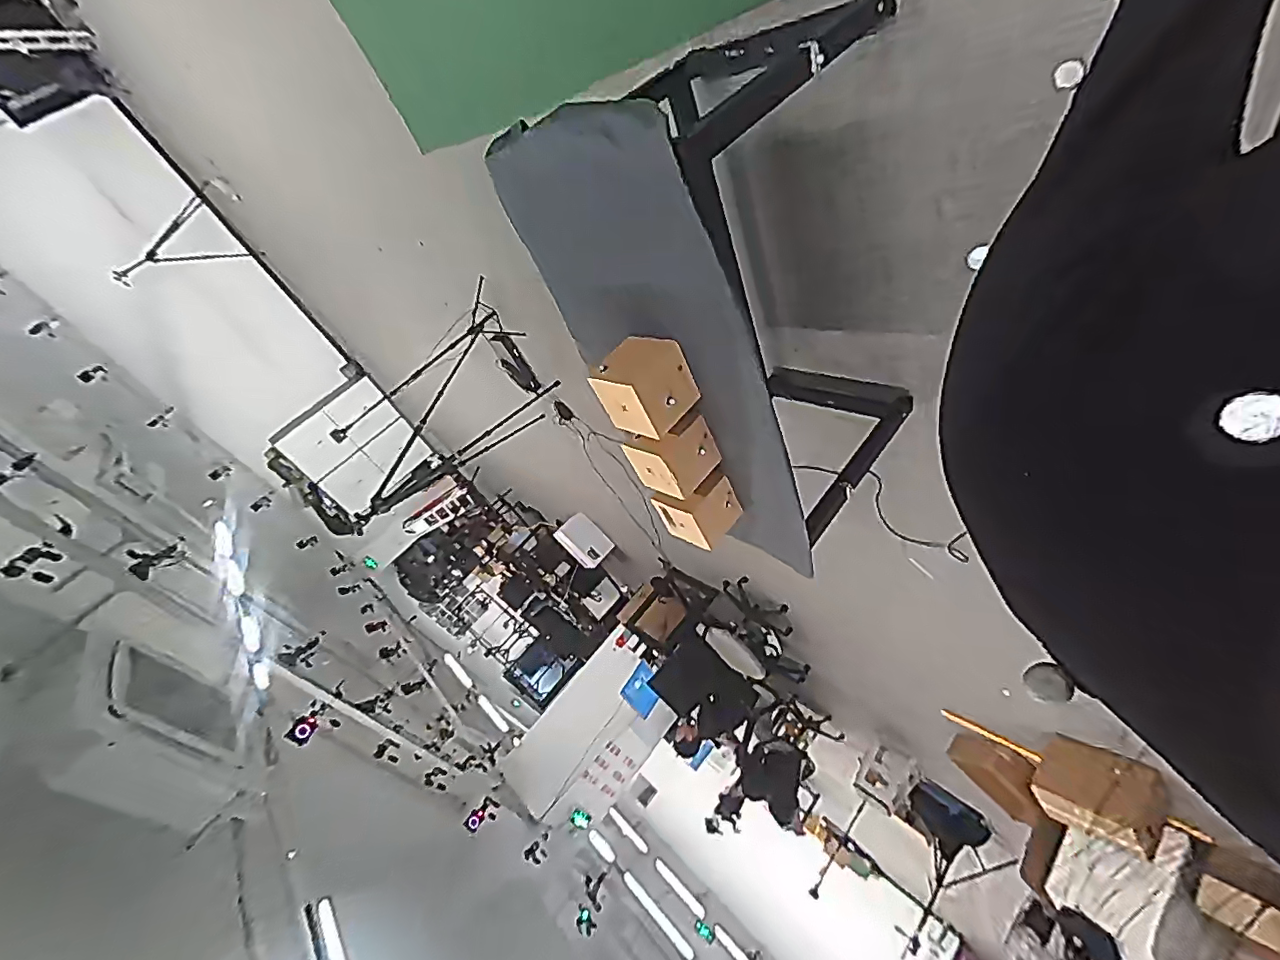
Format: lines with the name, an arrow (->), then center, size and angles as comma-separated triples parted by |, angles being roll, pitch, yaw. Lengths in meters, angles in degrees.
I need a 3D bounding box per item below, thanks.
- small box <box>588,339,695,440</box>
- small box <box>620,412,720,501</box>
small box -> 0.013, -0.224, 1.308 | 0.179, 0.176, 0.168 | 22, 151, 47
small box -> 0.084, -0.077, 1.461 | 0.179, 0.176, 0.168 | 20, 150, 47
